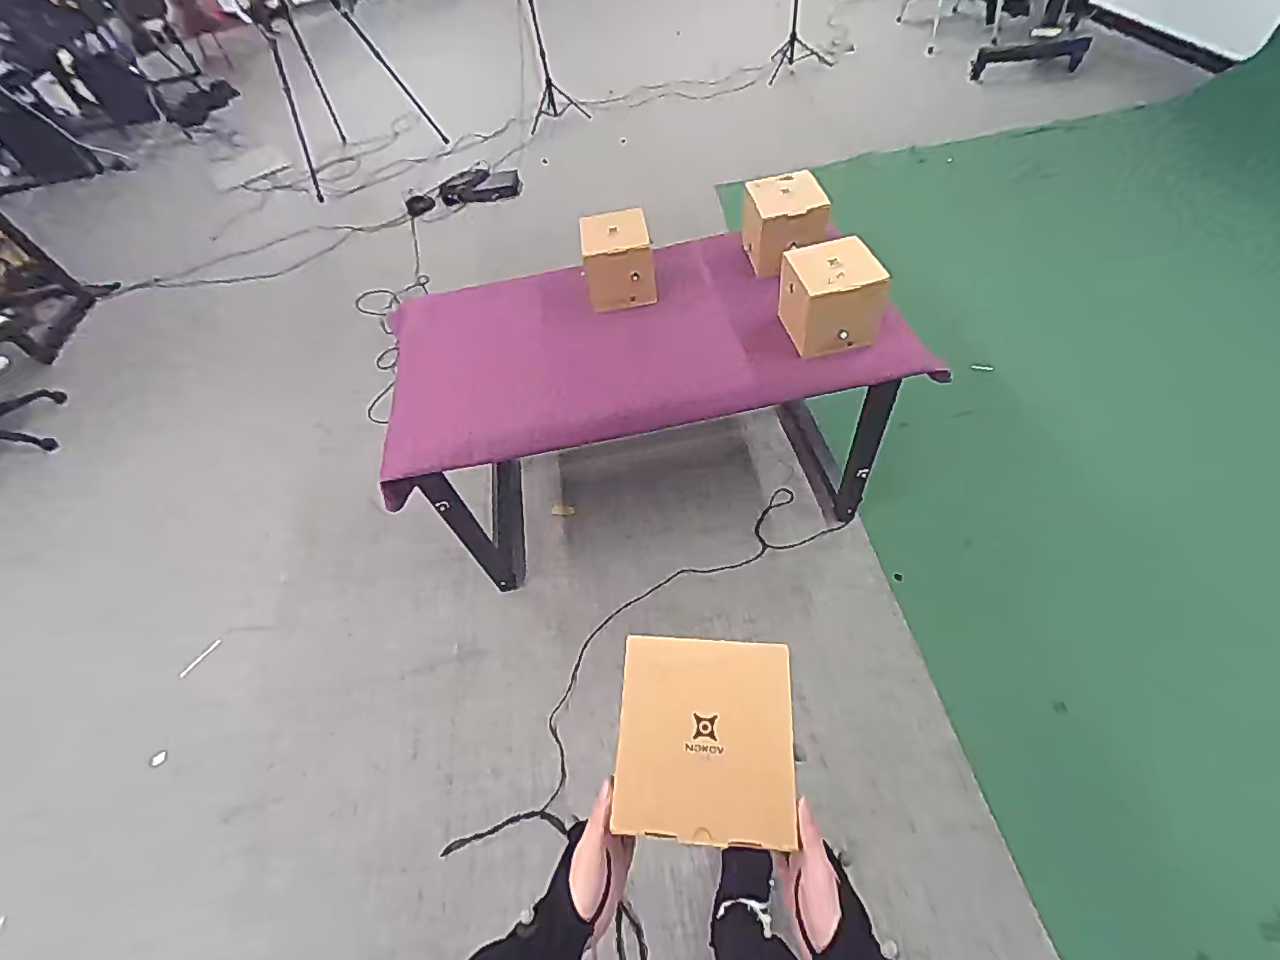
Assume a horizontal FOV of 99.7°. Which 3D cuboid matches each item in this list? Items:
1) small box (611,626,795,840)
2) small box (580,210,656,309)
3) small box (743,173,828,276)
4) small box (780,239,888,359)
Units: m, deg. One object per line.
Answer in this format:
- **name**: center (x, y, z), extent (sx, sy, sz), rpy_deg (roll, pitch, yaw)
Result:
- **small box**: center (0.067, 0.271, 0.586), extent (0.168, 0.176, 0.179), rpy_deg (2, 62, 6)
- **small box**: center (-0.055, -0.556, 1.384), extent (0.168, 0.176, 0.179), rpy_deg (-9, 54, 2)
- **small box**: center (0.363, -0.643, 1.380), extent (0.168, 0.176, 0.179), rpy_deg (-10, 56, 1)
- **small box**: center (0.413, -0.395, 1.190), extent (0.168, 0.176, 0.179), rpy_deg (-12, 53, 2)
